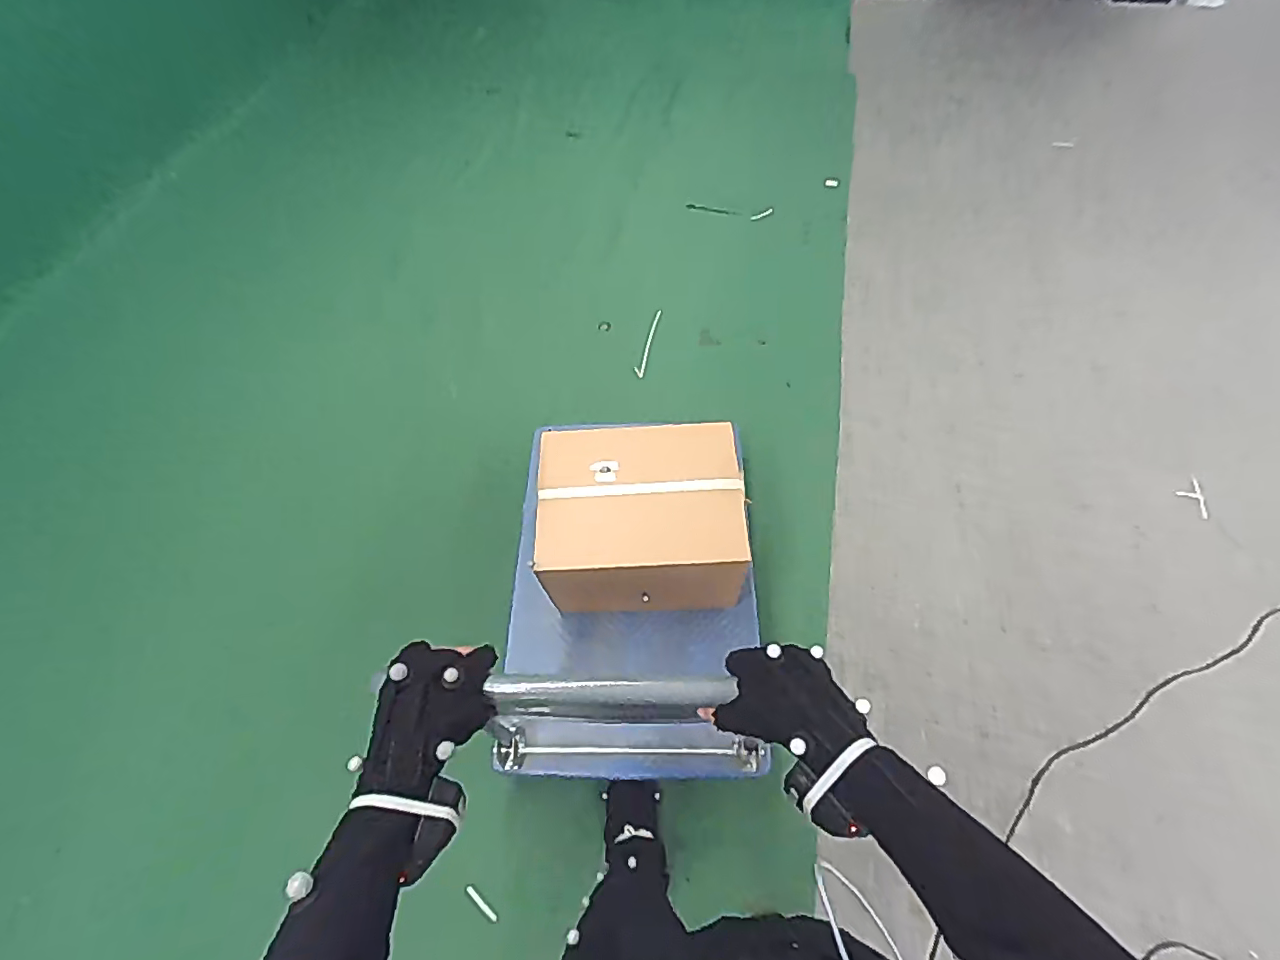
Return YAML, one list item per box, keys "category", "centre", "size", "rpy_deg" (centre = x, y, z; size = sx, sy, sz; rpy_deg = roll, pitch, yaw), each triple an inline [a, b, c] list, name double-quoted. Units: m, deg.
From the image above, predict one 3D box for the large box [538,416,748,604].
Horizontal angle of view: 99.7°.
- category: "large box"
  centre: [0.008, 0.082, 1.215]
  size: [0.408, 0.320, 0.320]
  rpy_deg: [-4, 61, 2]
